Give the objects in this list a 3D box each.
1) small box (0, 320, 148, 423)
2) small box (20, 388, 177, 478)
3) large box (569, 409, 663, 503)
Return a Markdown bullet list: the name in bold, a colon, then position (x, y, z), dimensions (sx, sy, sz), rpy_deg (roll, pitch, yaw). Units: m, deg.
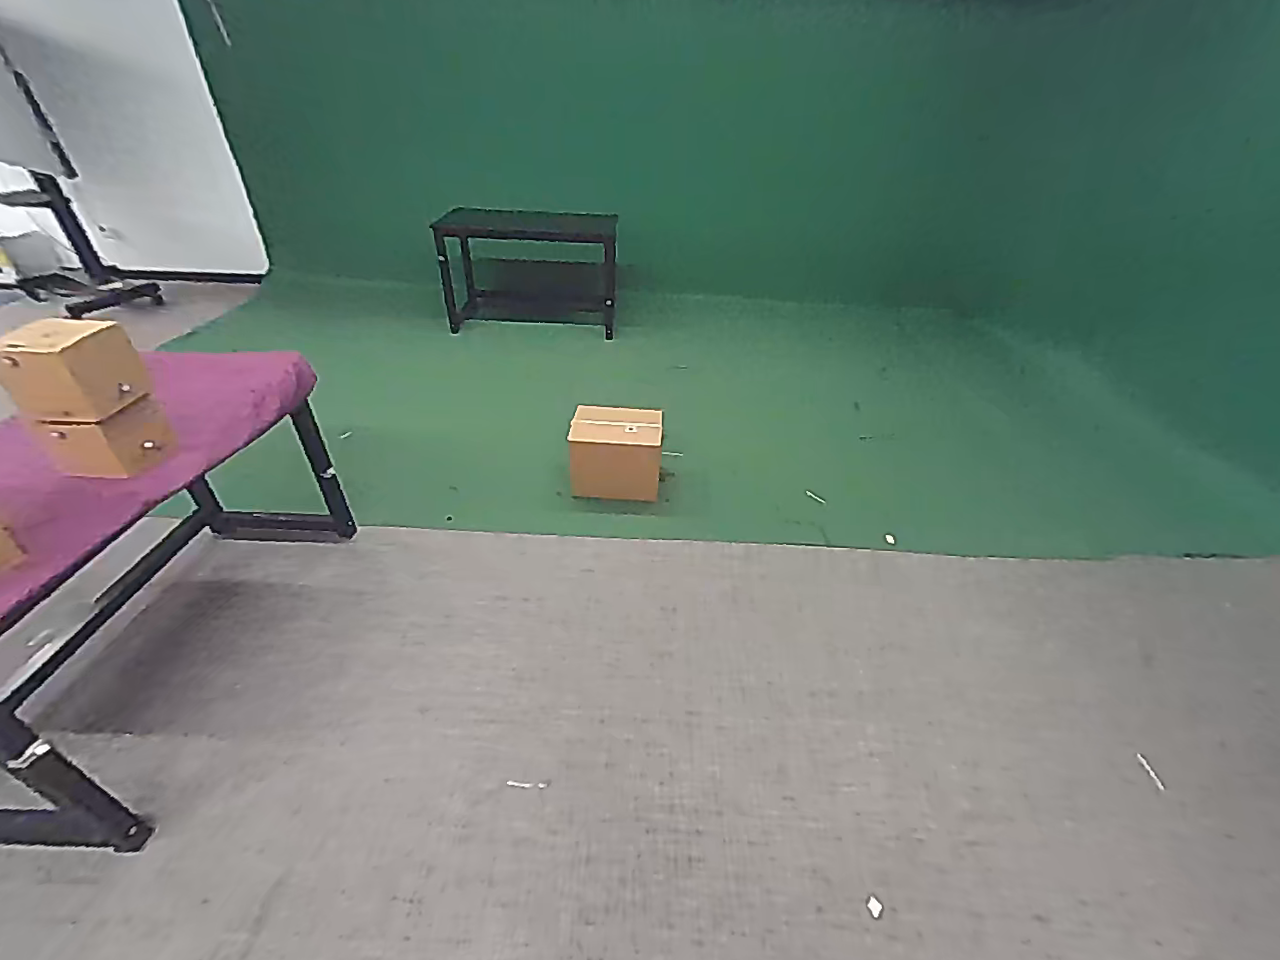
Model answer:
- **small box**: position (-1.266, -0.245, 1.211), dimensions (0.168, 0.176, 0.179), rpy_deg (2, 36, -1)
- **small box**: position (-1.299, -0.118, 1.313), dimensions (0.179, 0.176, 0.168), rpy_deg (4, 36, 1)
- **large box**: position (-0.106, -0.112, 2.487), dimensions (0.408, 0.320, 0.320), rpy_deg (4, 36, 2)
